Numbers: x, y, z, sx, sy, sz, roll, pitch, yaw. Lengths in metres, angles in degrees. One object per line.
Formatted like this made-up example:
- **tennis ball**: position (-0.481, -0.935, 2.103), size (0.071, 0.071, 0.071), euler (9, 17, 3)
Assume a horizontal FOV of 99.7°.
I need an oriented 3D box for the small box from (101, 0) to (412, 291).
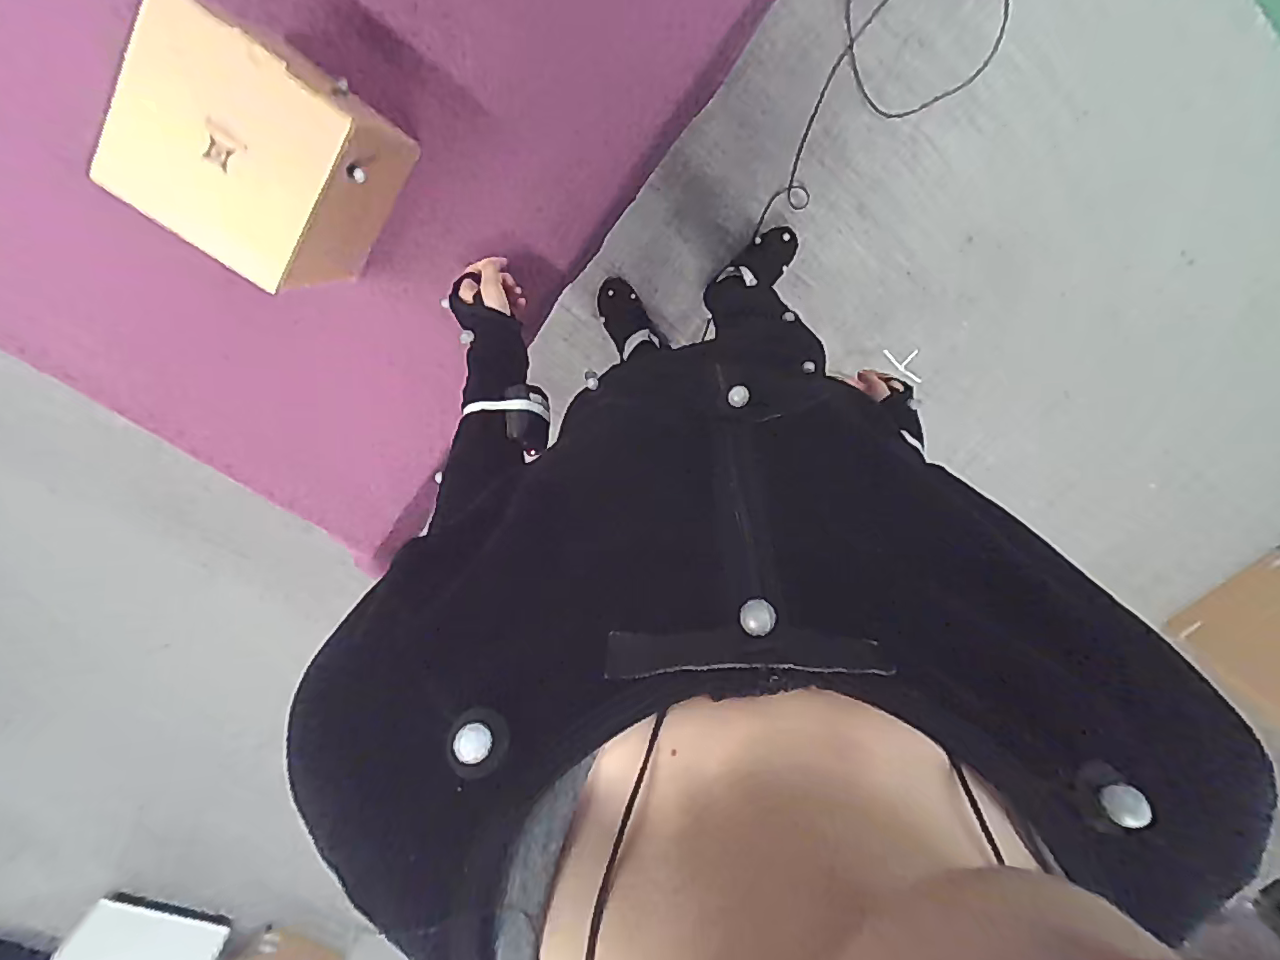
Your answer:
- **small box**: position (-0.358, -0.315, 0.540), size (0.168, 0.176, 0.179), euler (33, 108, -14)
